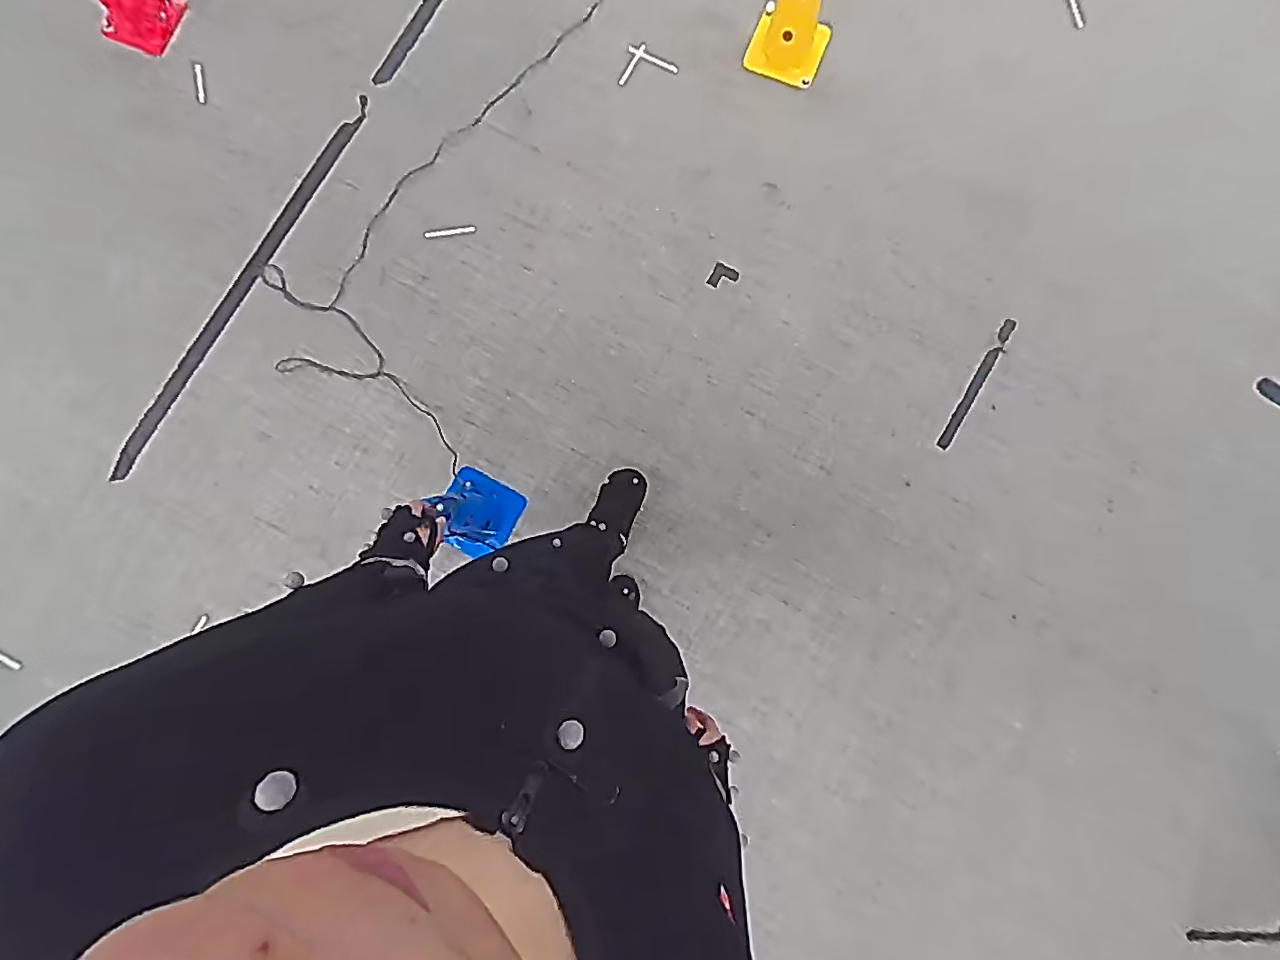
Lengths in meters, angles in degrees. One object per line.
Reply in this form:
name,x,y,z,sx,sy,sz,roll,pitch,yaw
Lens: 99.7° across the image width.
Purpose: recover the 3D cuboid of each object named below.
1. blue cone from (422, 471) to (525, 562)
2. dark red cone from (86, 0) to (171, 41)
blue cone,-0.410,0.076,1.222,0.192,0.380,0.193,30,86,3
dark red cone,-1.425,-1.356,1.353,0.201,0.394,0.202,22,85,2
